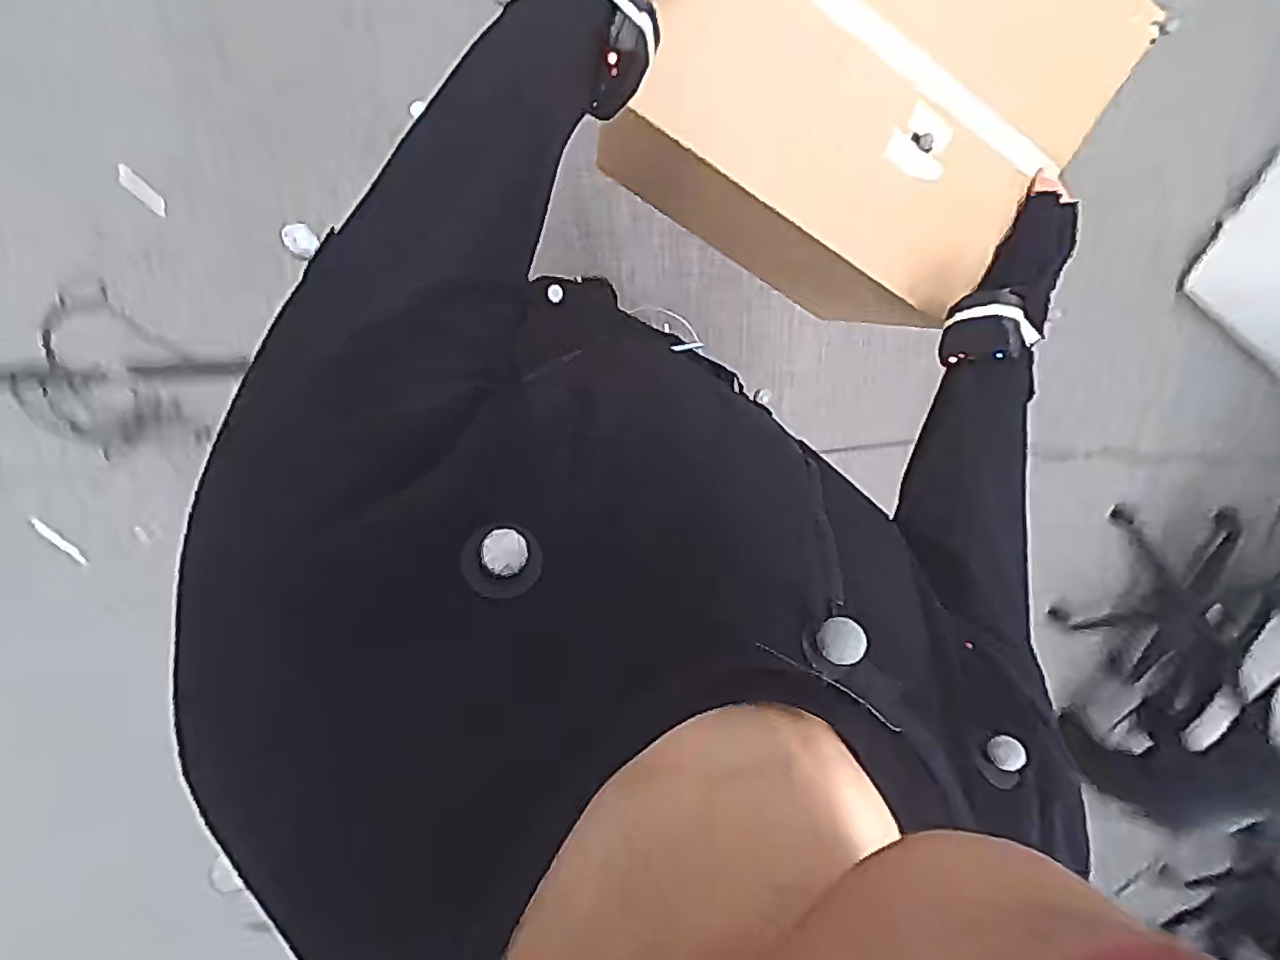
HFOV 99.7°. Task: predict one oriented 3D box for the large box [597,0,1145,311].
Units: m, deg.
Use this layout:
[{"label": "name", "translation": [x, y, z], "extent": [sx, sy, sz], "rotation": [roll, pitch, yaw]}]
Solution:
[{"label": "large box", "translation": [0.197, -0.432, 0.616], "extent": [0.408, 0.320, 0.320], "rotation": [26, 106, -14]}]
